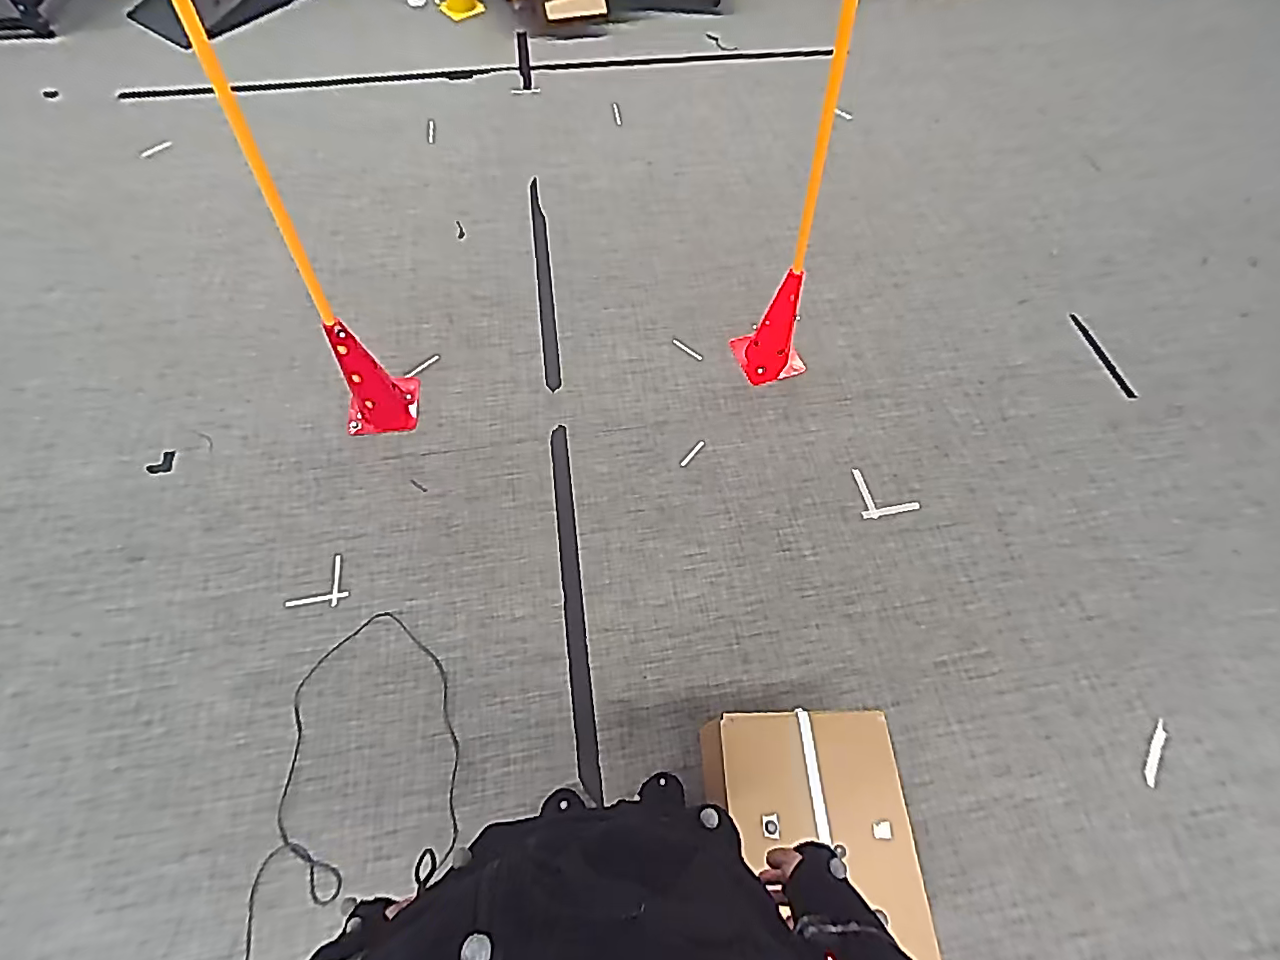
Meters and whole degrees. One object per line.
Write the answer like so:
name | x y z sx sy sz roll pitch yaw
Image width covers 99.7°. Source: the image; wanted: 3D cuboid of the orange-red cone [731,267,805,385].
orange-red cone | 0.421 -0.480 1.610 0.199 0.360 0.198 -15 65 -11
